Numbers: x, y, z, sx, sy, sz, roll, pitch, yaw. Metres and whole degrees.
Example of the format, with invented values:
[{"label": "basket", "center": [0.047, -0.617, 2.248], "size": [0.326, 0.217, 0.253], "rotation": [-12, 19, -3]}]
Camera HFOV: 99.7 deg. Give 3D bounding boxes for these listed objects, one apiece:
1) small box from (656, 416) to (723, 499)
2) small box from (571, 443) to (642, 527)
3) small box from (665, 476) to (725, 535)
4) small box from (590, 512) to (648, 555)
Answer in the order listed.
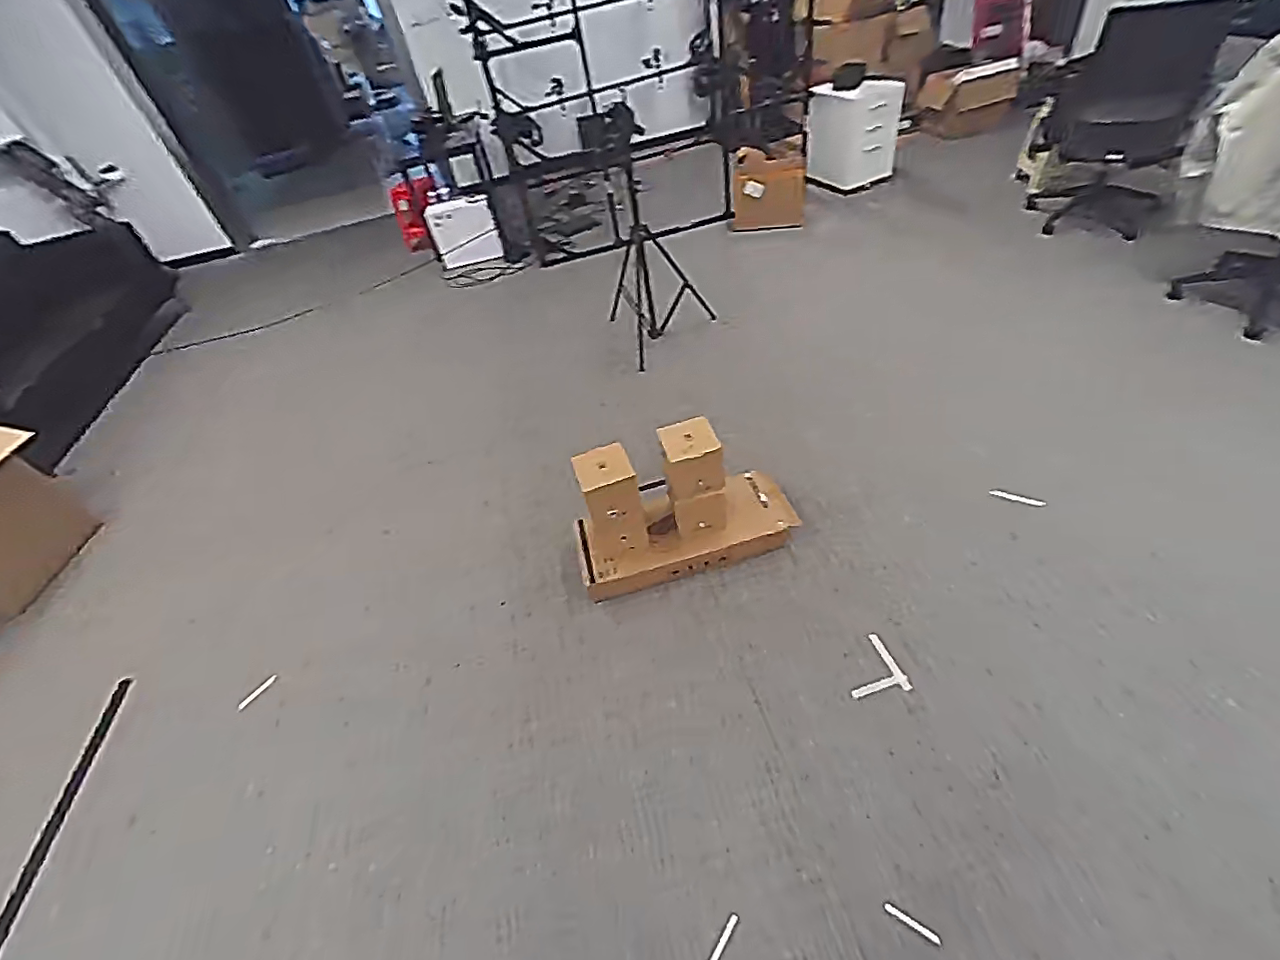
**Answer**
[{"label": "small box", "center": [0.157, -0.070, 1.720], "size": [0.168, 0.176, 0.179], "rotation": [-17, 44, -3]}, {"label": "small box", "center": [-0.105, 0.017, 1.695], "size": [0.168, 0.176, 0.179], "rotation": [-20, 44, -7]}, {"label": "small box", "center": [0.183, 0.058, 1.823], "size": [0.168, 0.176, 0.179], "rotation": [-14, 44, 0]}, {"label": "small box", "center": [-0.075, 0.131, 1.809], "size": [0.168, 0.176, 0.179], "rotation": [-15, 44, -3]}]
